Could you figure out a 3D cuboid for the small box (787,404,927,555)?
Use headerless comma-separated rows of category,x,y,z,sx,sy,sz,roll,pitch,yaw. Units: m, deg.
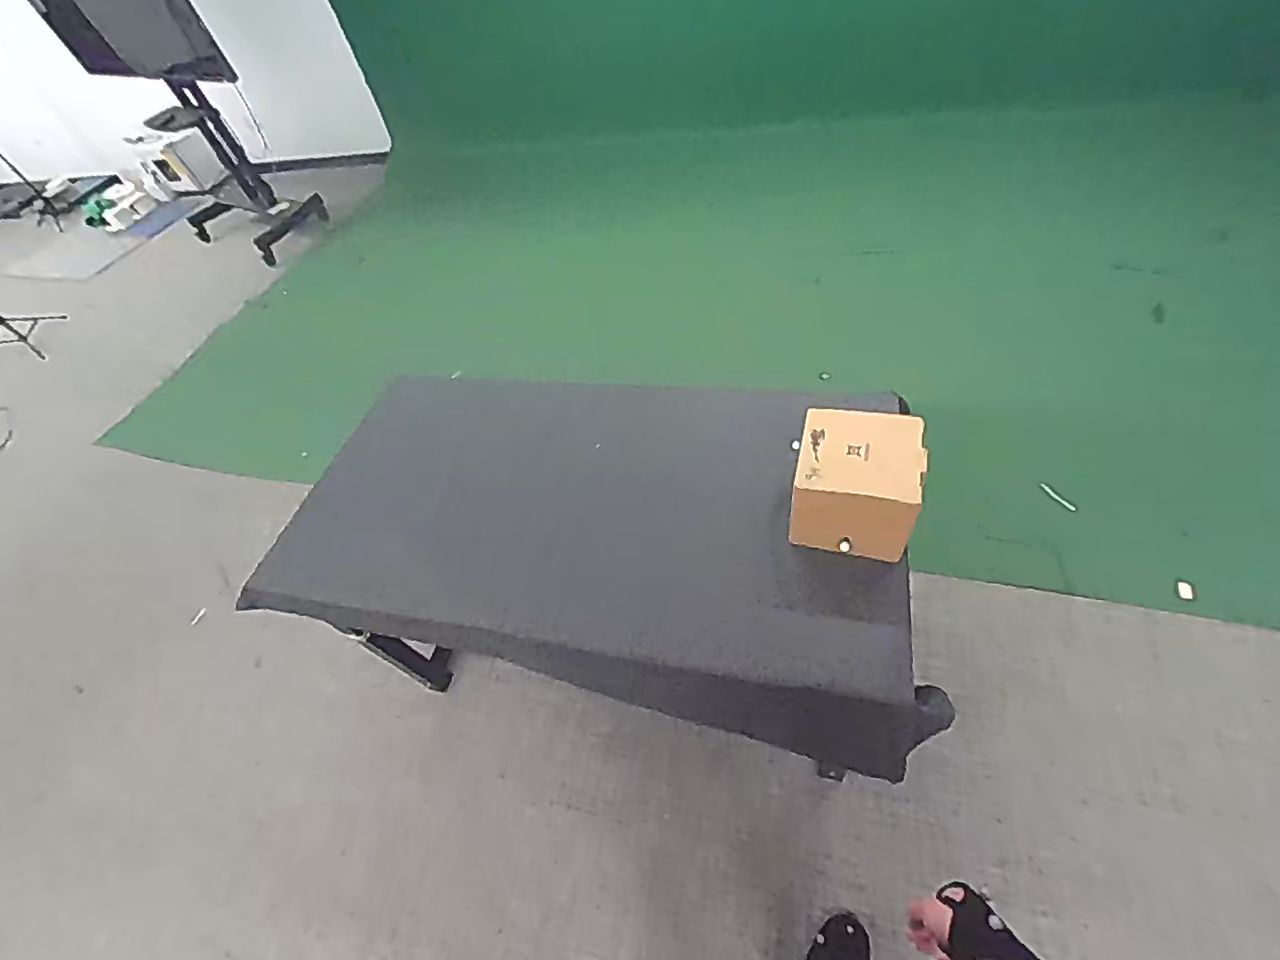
small box,0.344,0.004,0.875,0.179,0.176,0.168,10,56,17
